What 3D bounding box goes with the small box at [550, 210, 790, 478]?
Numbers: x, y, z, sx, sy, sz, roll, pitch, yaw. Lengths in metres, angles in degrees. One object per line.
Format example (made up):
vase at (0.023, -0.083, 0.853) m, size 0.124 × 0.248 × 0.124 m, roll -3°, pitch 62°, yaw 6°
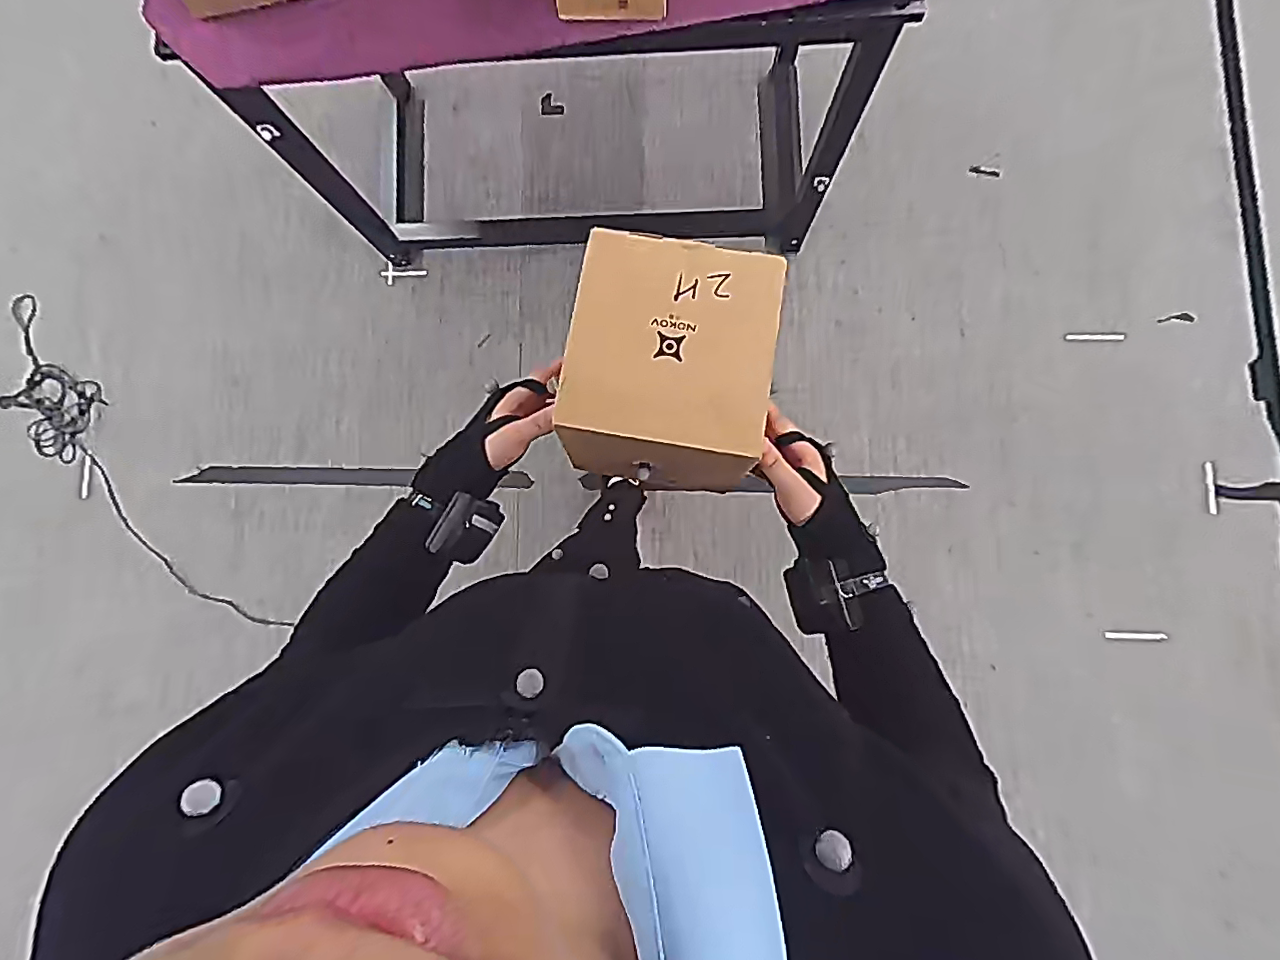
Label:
small box at (0.026, -0.108, 0.501) m, size 0.168 × 0.176 × 0.179 m, roll 10°, pitch 79°, yaw 1°
